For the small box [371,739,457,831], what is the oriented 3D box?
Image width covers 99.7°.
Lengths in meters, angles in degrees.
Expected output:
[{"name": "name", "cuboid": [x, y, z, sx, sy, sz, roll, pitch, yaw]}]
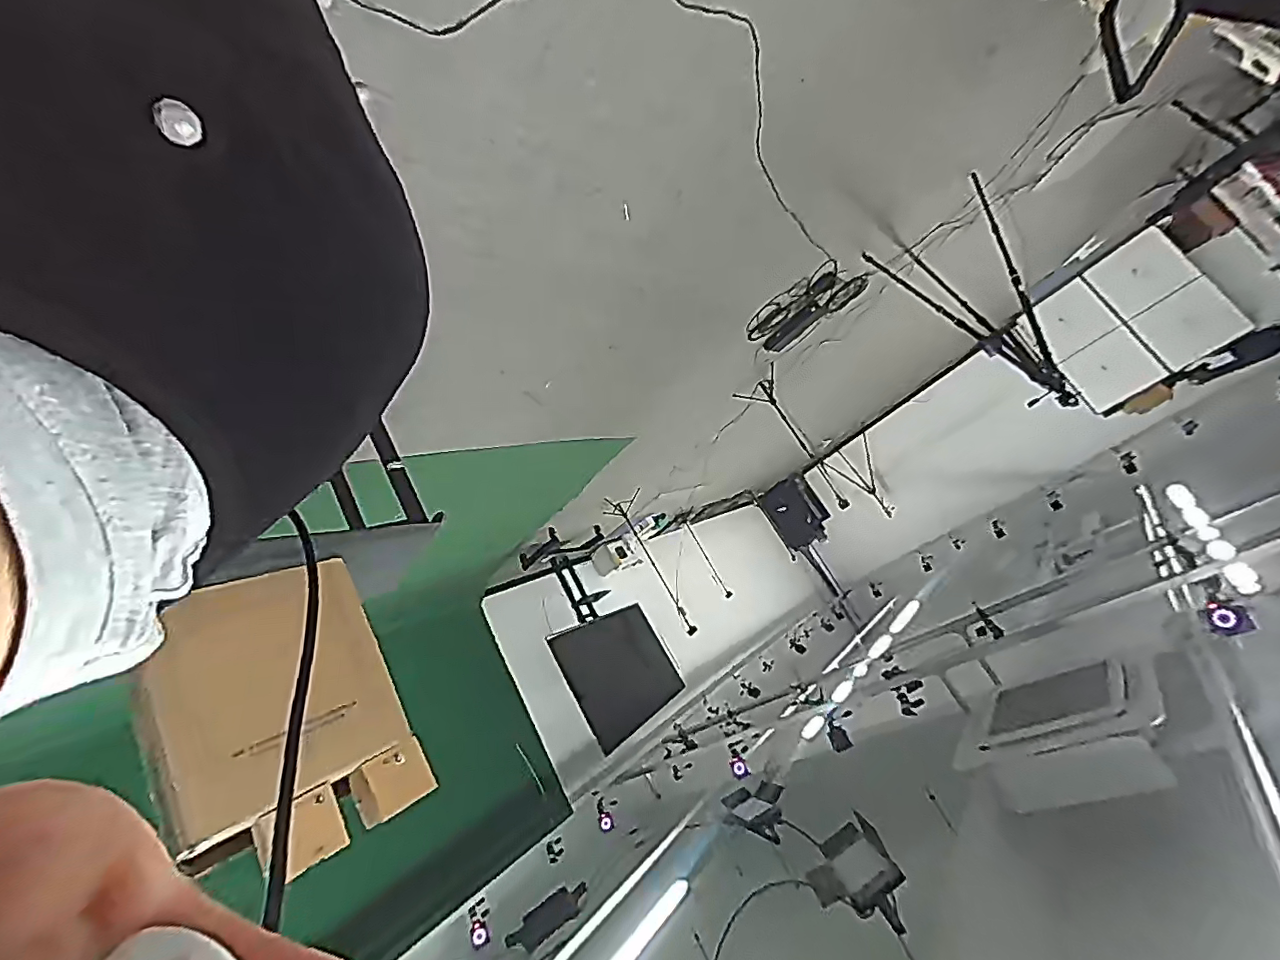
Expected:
[{"name": "small box", "cuboid": [-0.689, 0.918, 1.636, 0.168, 0.176, 0.179, -19, 159, -48]}]

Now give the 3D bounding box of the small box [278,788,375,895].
[{"name": "small box", "cuboid": [-0.841, 0.959, 1.444, 0.168, 0.176, 0.179, -14, 157, -47]}]
